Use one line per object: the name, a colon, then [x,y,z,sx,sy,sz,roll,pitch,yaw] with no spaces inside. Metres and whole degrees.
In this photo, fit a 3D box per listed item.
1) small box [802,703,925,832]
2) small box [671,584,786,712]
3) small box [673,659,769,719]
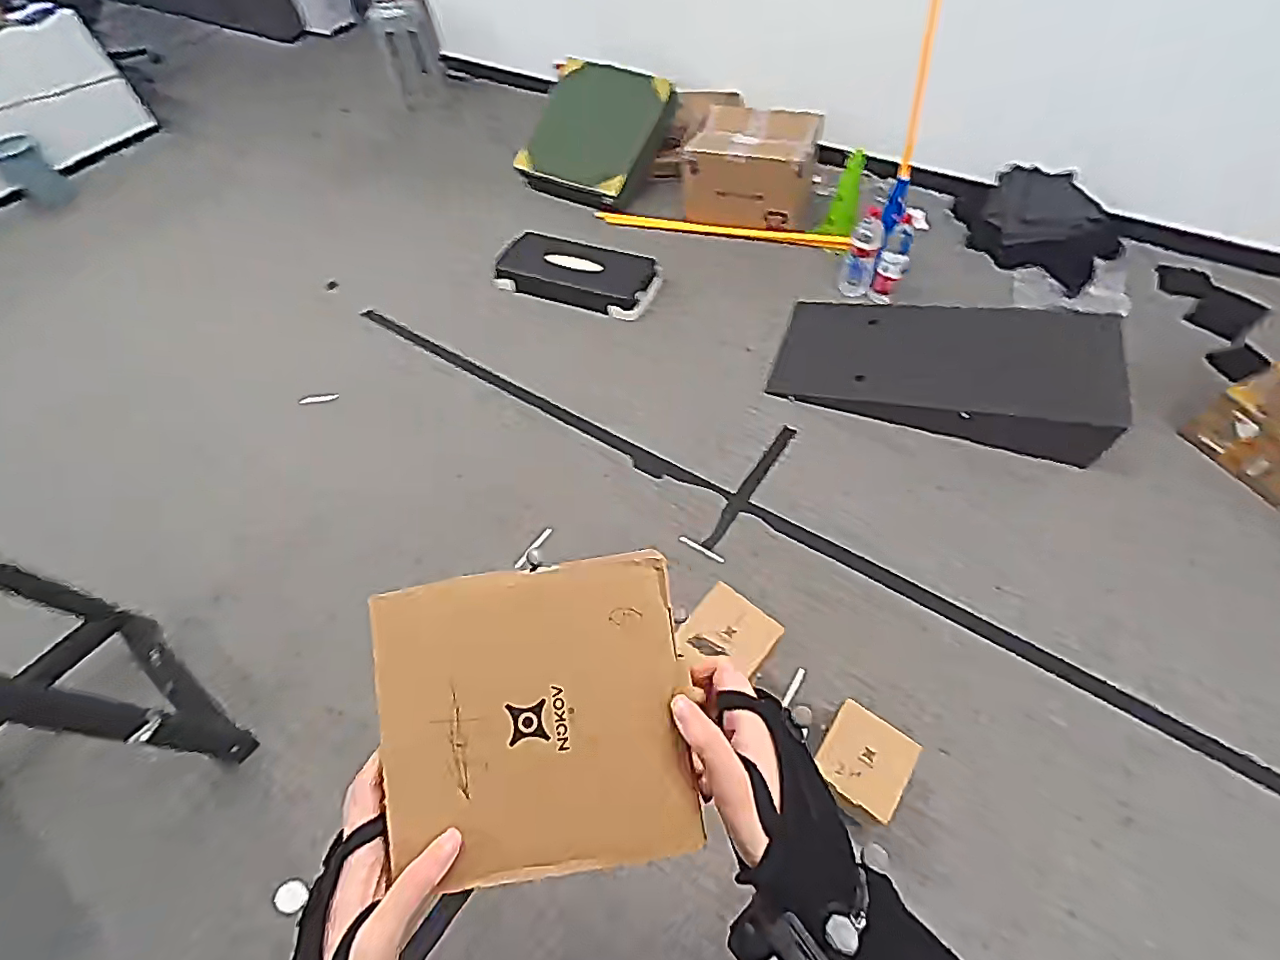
small box: [0.468,0.616,1.158,0.168,0.176,0.179,32,64,23]
small box: [0.185,0.361,1.150,0.168,0.176,0.179,37,66,24]
small box: [0.195,0.446,1.292,0.179,0.176,0.168,33,64,22]
